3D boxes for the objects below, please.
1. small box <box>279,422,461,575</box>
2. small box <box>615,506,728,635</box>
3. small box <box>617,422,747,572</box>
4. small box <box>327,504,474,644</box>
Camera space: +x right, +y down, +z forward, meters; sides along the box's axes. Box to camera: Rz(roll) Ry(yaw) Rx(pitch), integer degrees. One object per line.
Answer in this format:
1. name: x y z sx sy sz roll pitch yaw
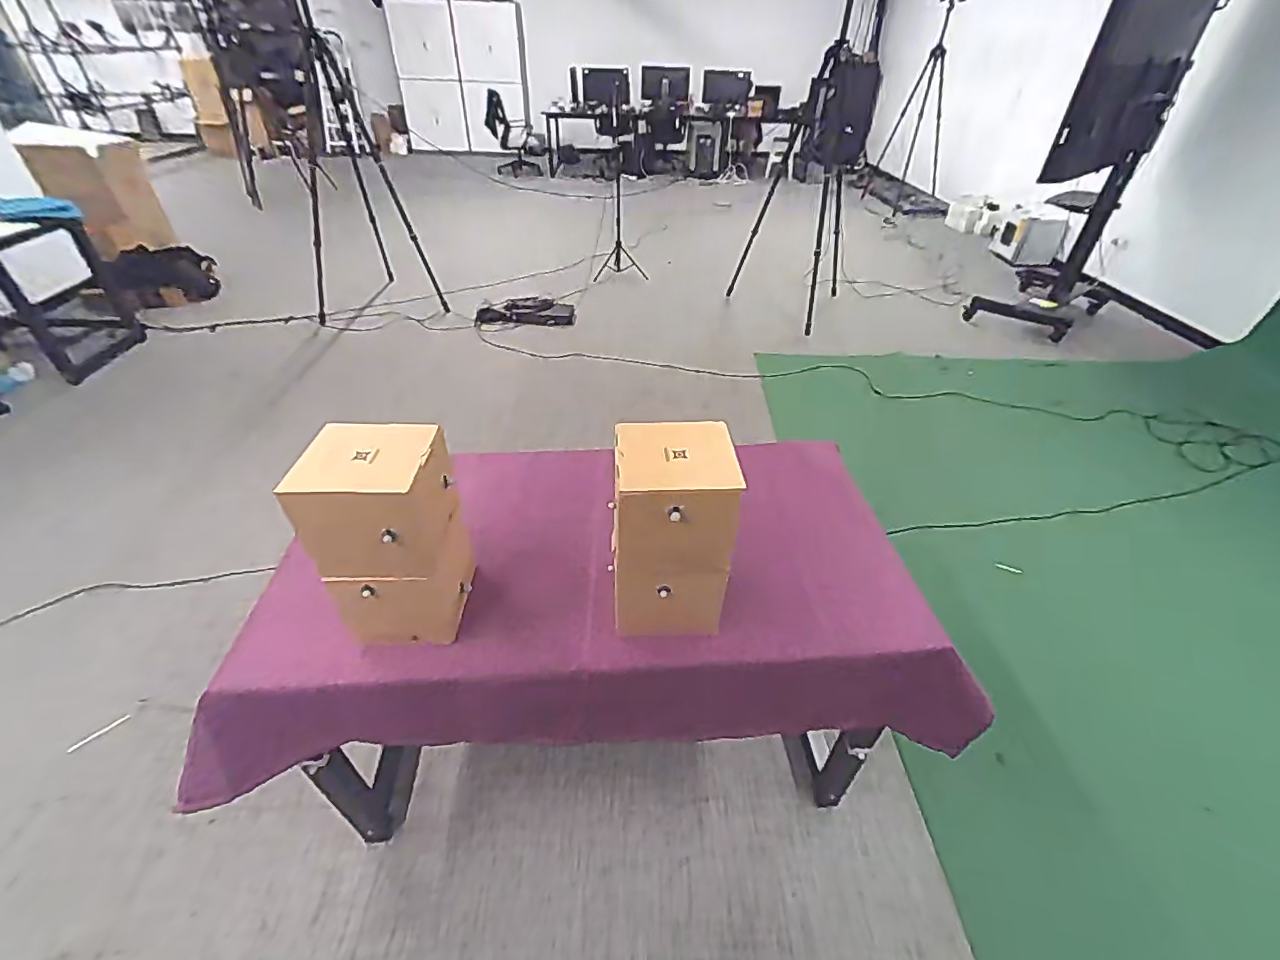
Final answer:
1. small box: -0.385 0.029 0.816 0.179 0.176 0.168 0 39 -1
2. small box: 0.047 0.153 0.935 0.179 0.176 0.168 -1 40 -3
3. small box: 0.053 0.027 0.832 0.179 0.176 0.168 -2 40 -2
4. small box: -0.389 0.156 0.919 0.168 0.176 0.179 0 39 -1
